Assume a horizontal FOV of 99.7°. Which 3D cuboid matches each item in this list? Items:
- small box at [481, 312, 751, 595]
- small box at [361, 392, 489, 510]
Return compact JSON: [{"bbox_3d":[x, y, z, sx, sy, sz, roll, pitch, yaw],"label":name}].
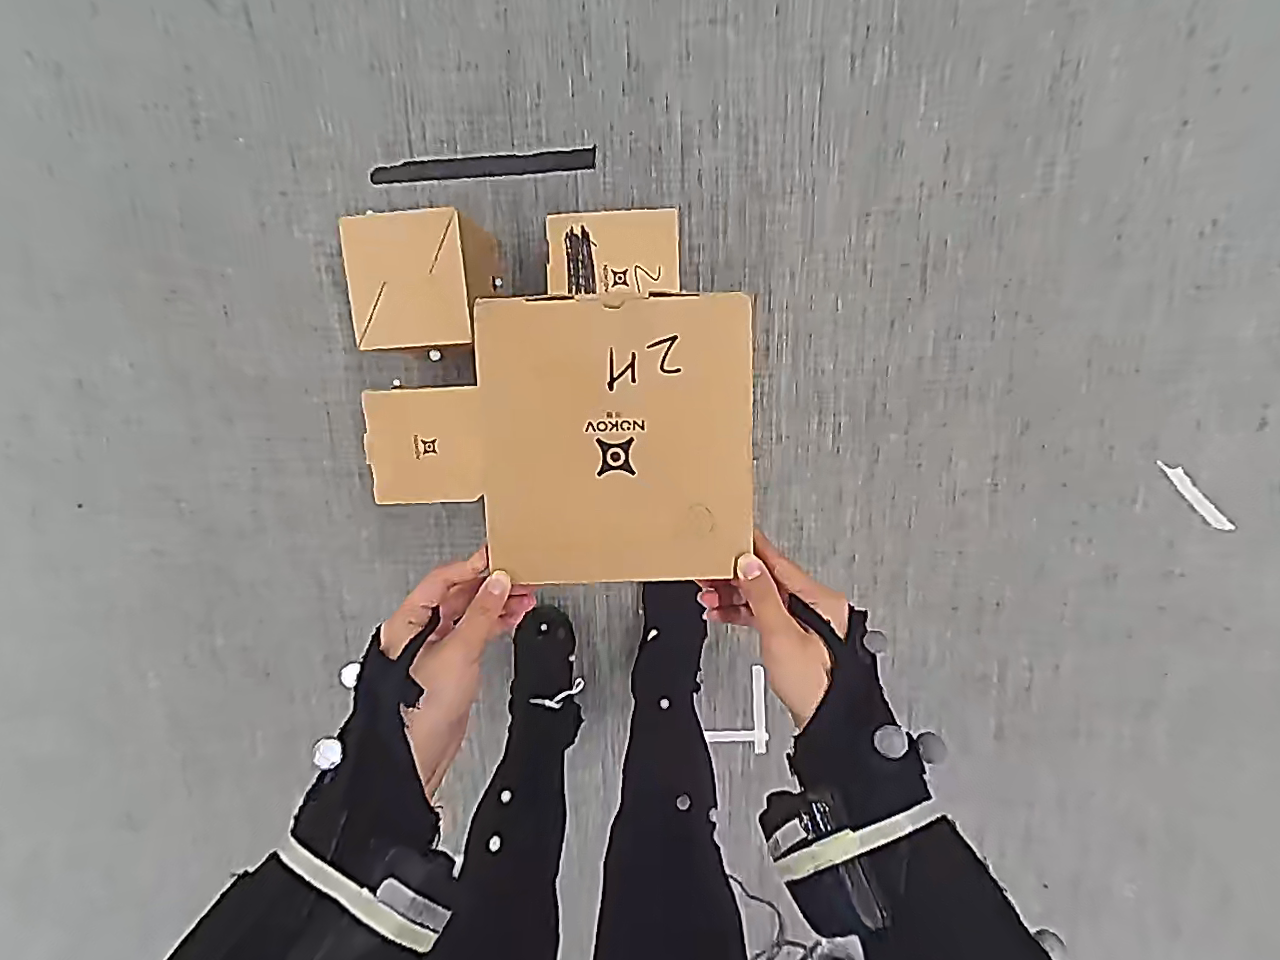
[{"bbox_3d":[-0.014,-0.024,0.414,0.168,0.176,0.179,-2,96,-1],"label":"small box"},{"bbox_3d":[-0.300,-0.052,0.848,0.179,0.176,0.168,-2,100,4],"label":"small box"}]
